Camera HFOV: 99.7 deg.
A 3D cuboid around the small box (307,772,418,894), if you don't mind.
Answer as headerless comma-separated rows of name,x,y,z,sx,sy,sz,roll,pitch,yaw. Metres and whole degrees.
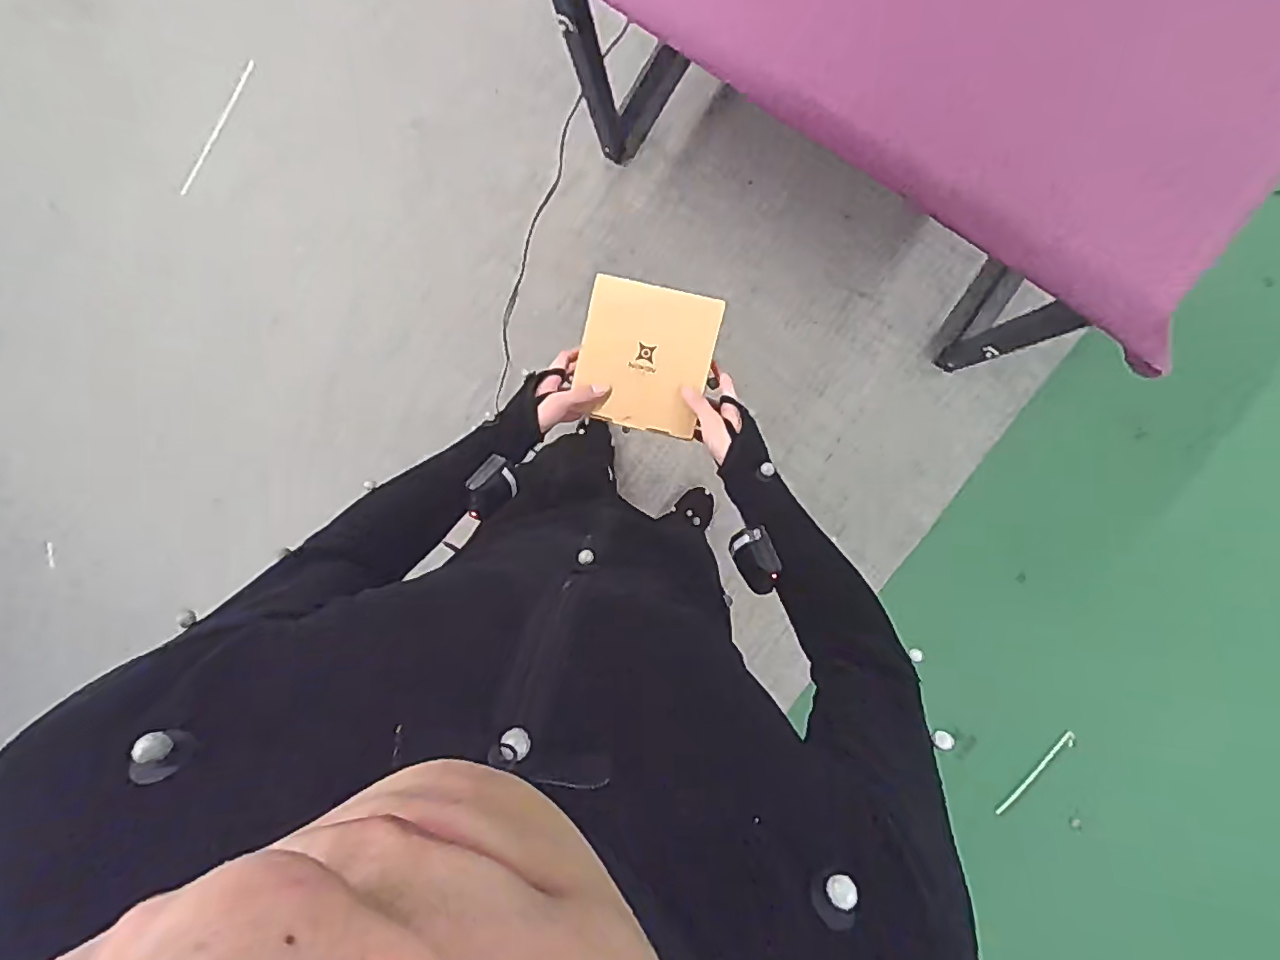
small box,-0.734,0.937,1.450,0.168,0.176,0.179,37,98,3
